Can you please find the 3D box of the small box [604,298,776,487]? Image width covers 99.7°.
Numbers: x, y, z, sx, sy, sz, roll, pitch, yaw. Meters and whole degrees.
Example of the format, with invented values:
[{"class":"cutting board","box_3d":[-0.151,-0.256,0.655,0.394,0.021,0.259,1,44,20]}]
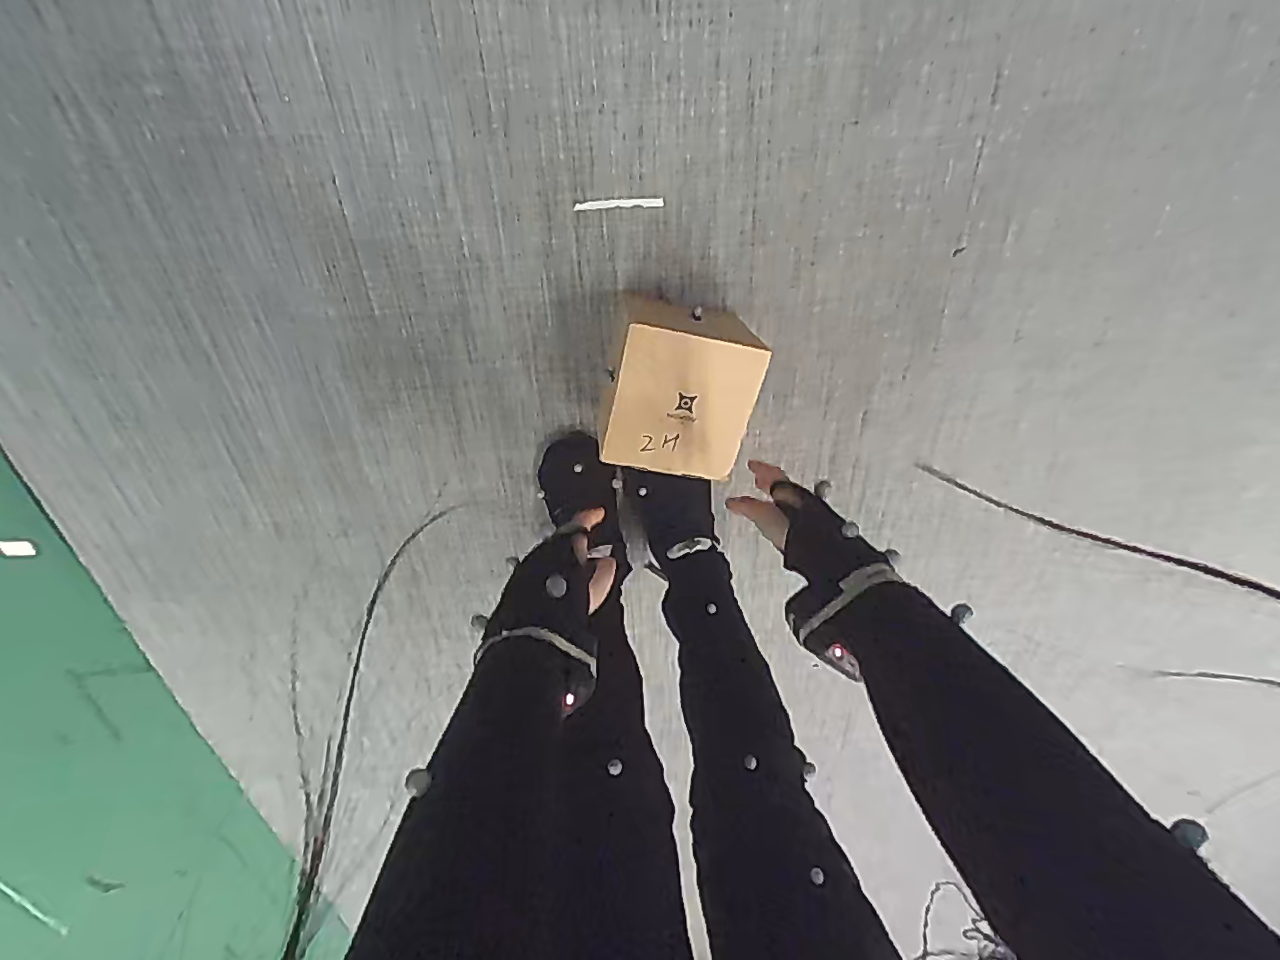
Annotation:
[{"class":"small box","box_3d":[0.048,-0.118,0.693,0.168,0.176,0.179,9,121,-10]}]
